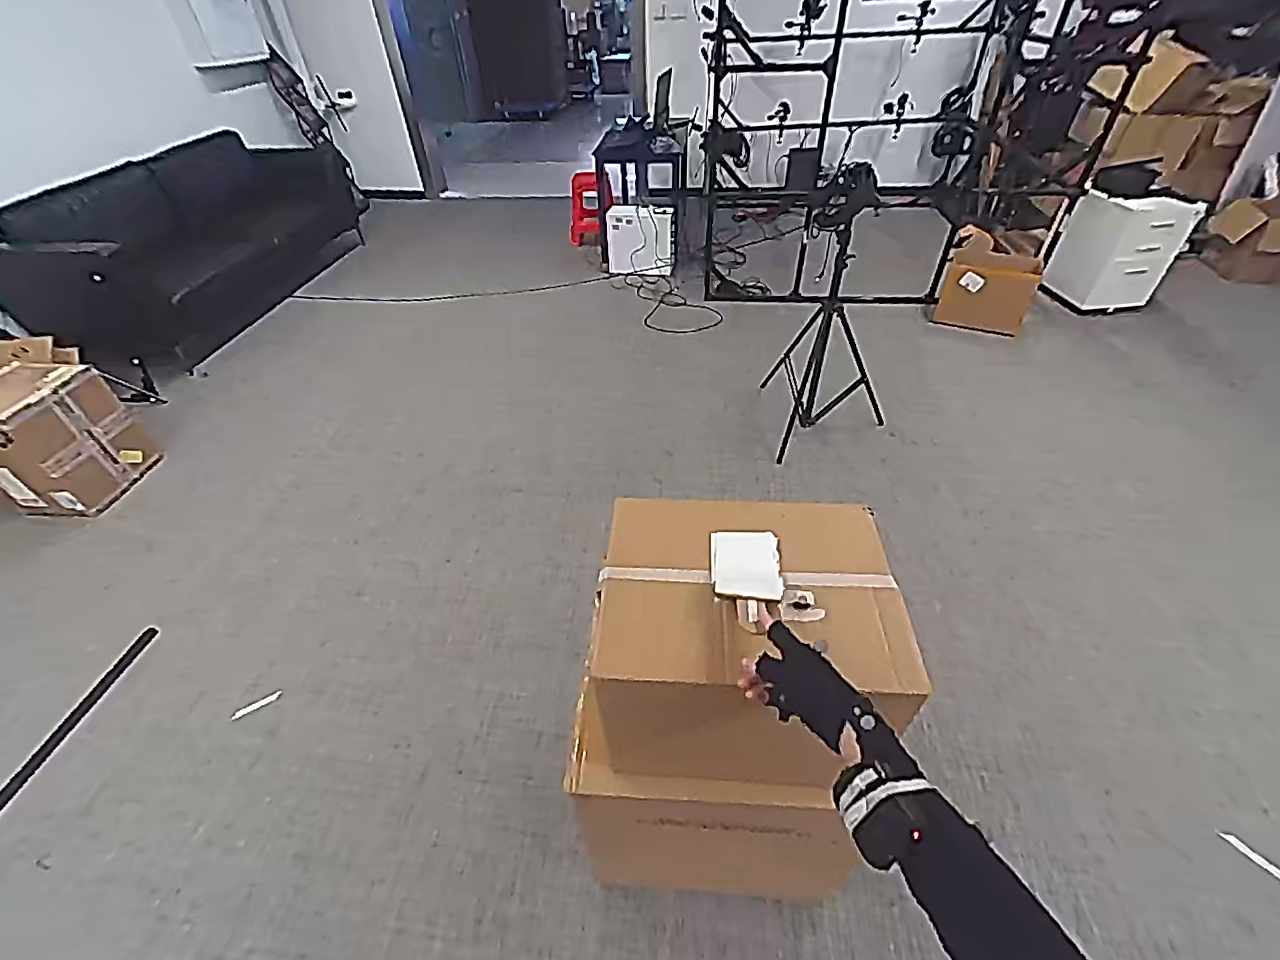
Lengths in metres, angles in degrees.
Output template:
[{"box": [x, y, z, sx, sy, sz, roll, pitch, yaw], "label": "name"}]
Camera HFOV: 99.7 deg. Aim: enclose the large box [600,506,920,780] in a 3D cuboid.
[{"box": [0.155, 0.259, 0.874, 0.408, 0.320, 0.320, 2, 42, 4], "label": "large box"}]
